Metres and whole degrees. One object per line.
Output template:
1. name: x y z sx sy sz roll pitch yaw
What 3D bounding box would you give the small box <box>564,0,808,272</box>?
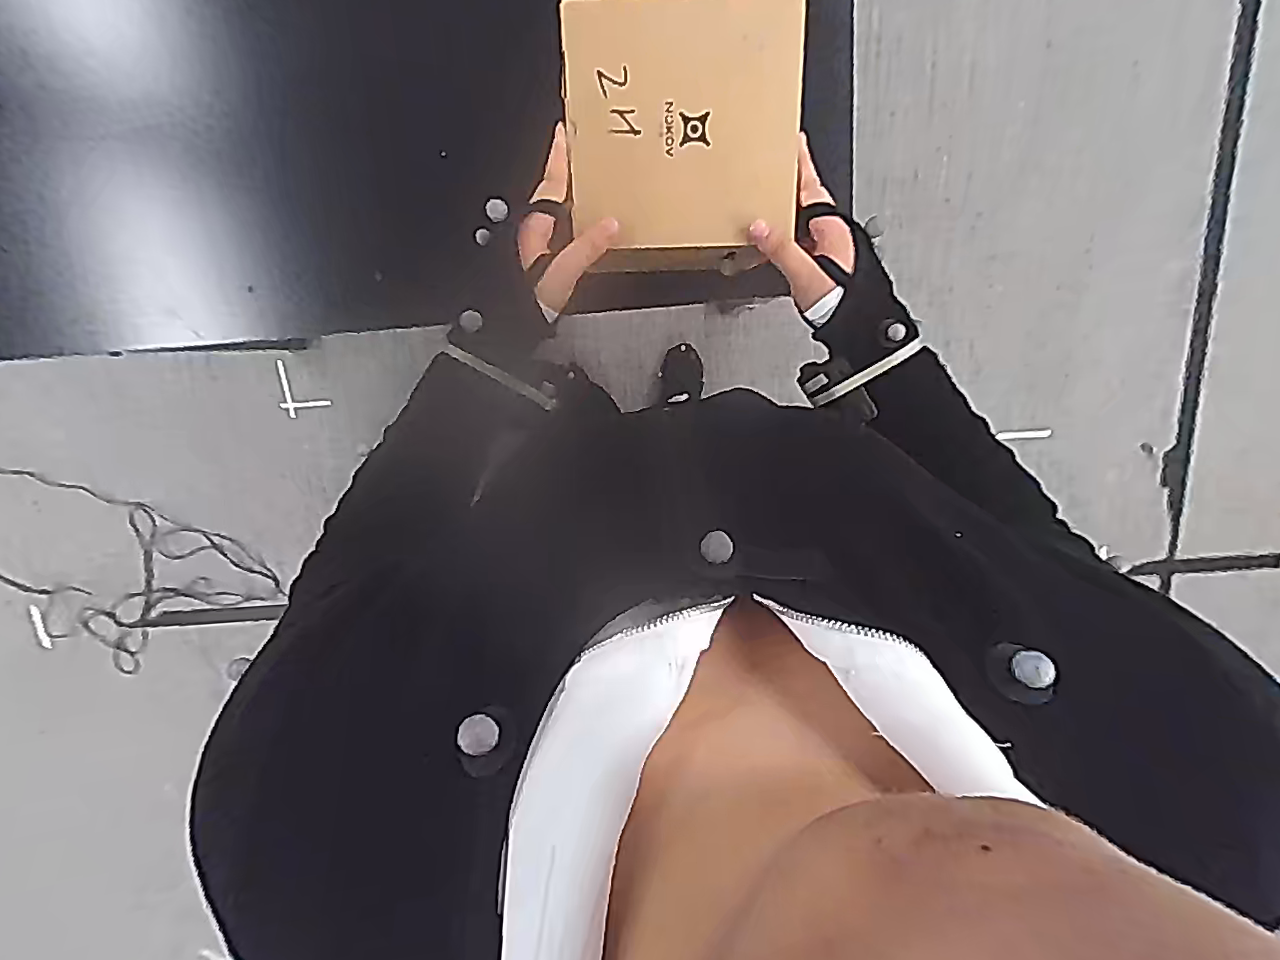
1. small box: 0.031 -0.281 0.477 0.179 0.176 0.168 -1 105 0

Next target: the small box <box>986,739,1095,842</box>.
1. small box: 1.065 0.822 1.451 0.168 0.176 0.179 -7 107 0
